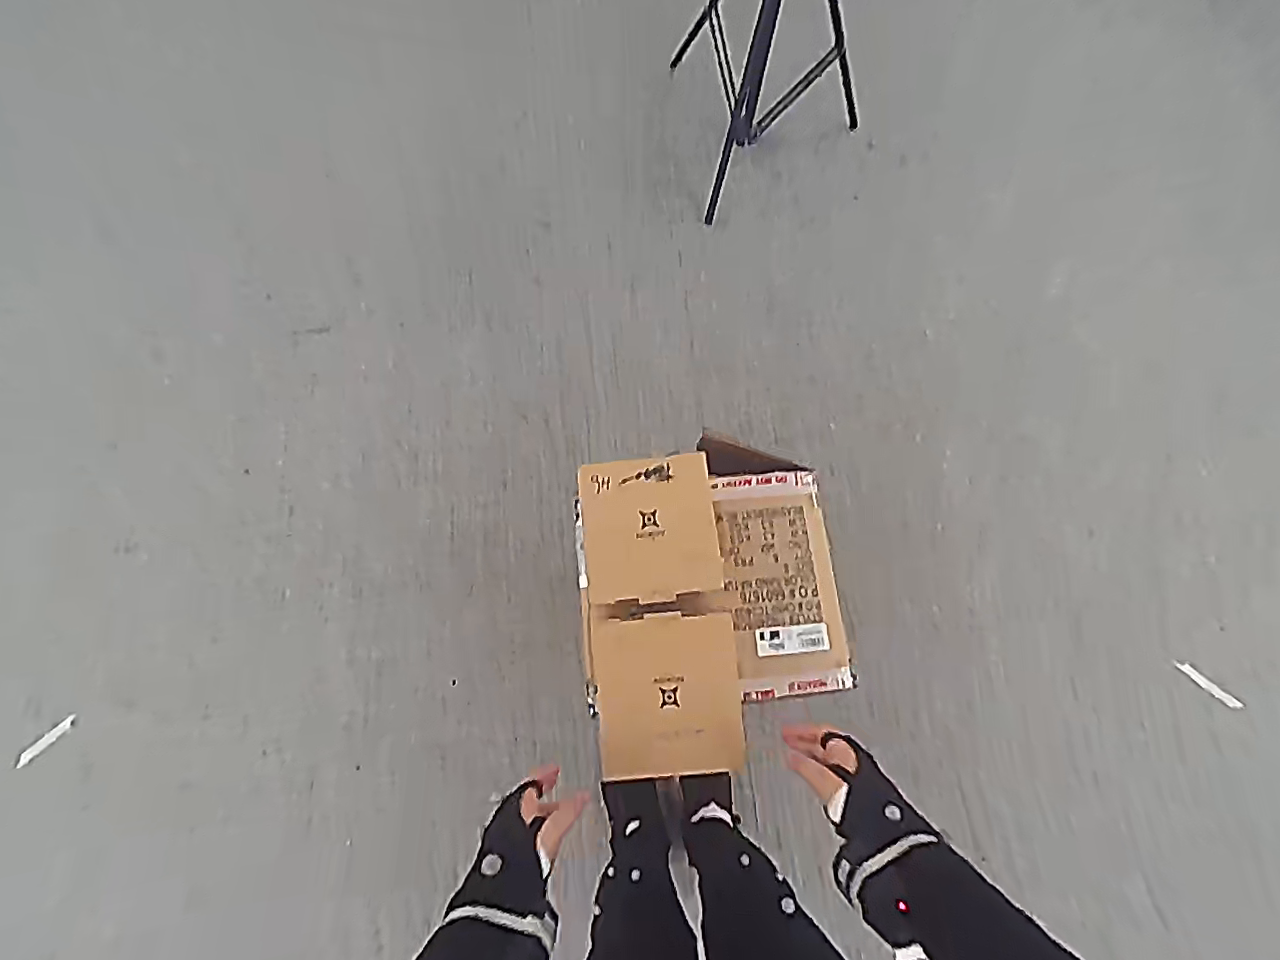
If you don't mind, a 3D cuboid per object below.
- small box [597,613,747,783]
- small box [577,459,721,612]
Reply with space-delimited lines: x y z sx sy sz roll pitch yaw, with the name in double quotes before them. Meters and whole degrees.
"small box" 0.034 0.267 0.701 0.168 0.176 0.179 -4 78 0
"small box" 0.011 0.081 0.744 0.168 0.176 0.179 -7 78 -1
